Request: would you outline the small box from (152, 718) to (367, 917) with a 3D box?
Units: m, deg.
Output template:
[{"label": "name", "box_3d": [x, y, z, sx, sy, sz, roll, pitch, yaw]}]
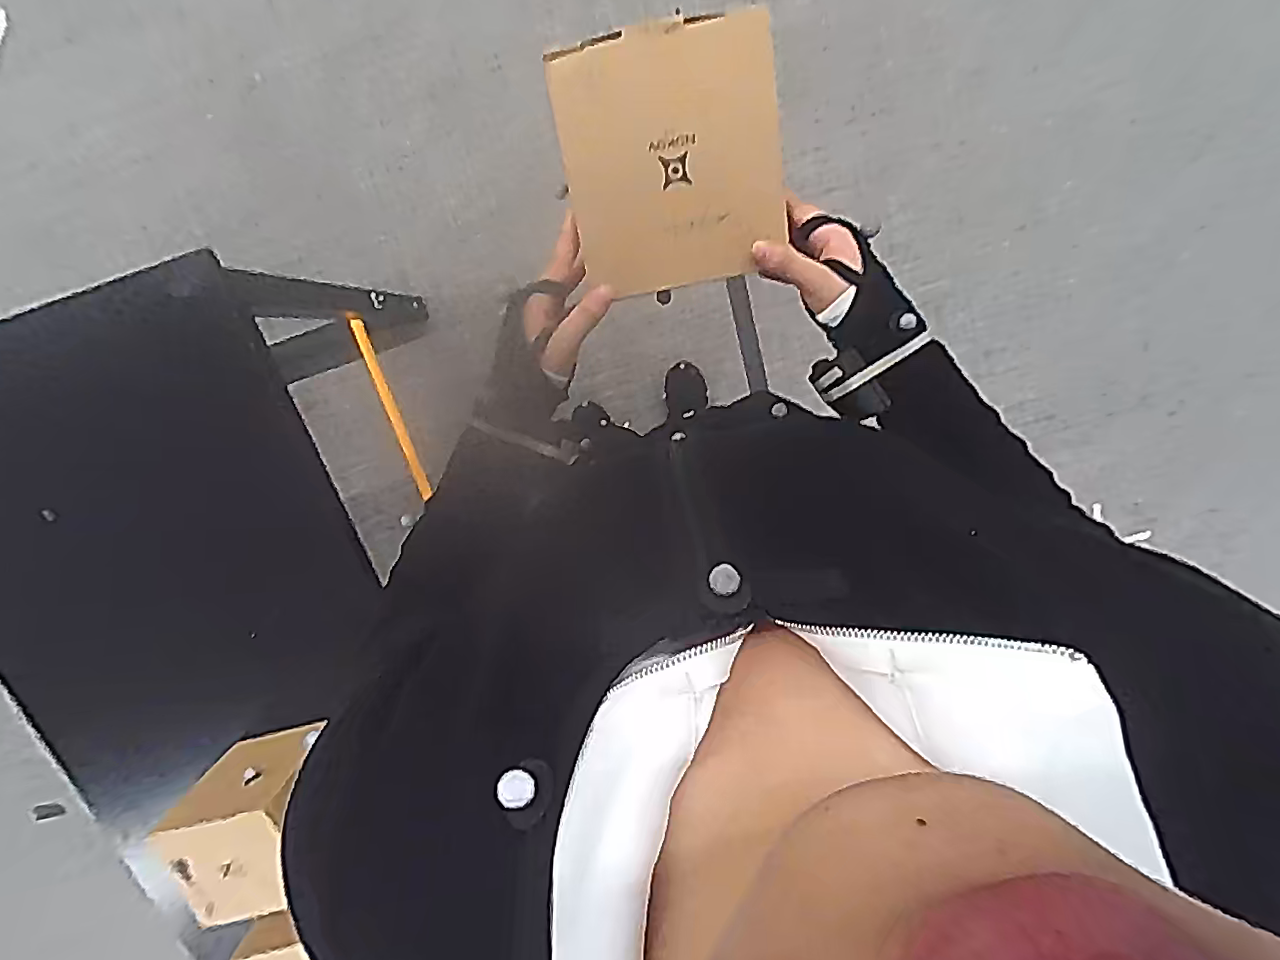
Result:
[{"label": "small box", "box_3d": [-0.534, 0.483, 0.797, 0.179, 0.176, 0.168, -15, 105, 3]}]

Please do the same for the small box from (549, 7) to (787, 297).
[{"label": "small box", "box_3d": [0.022, -0.271, 0.489, 0.168, 0.176, 0.179, -11, 111, 1]}]
